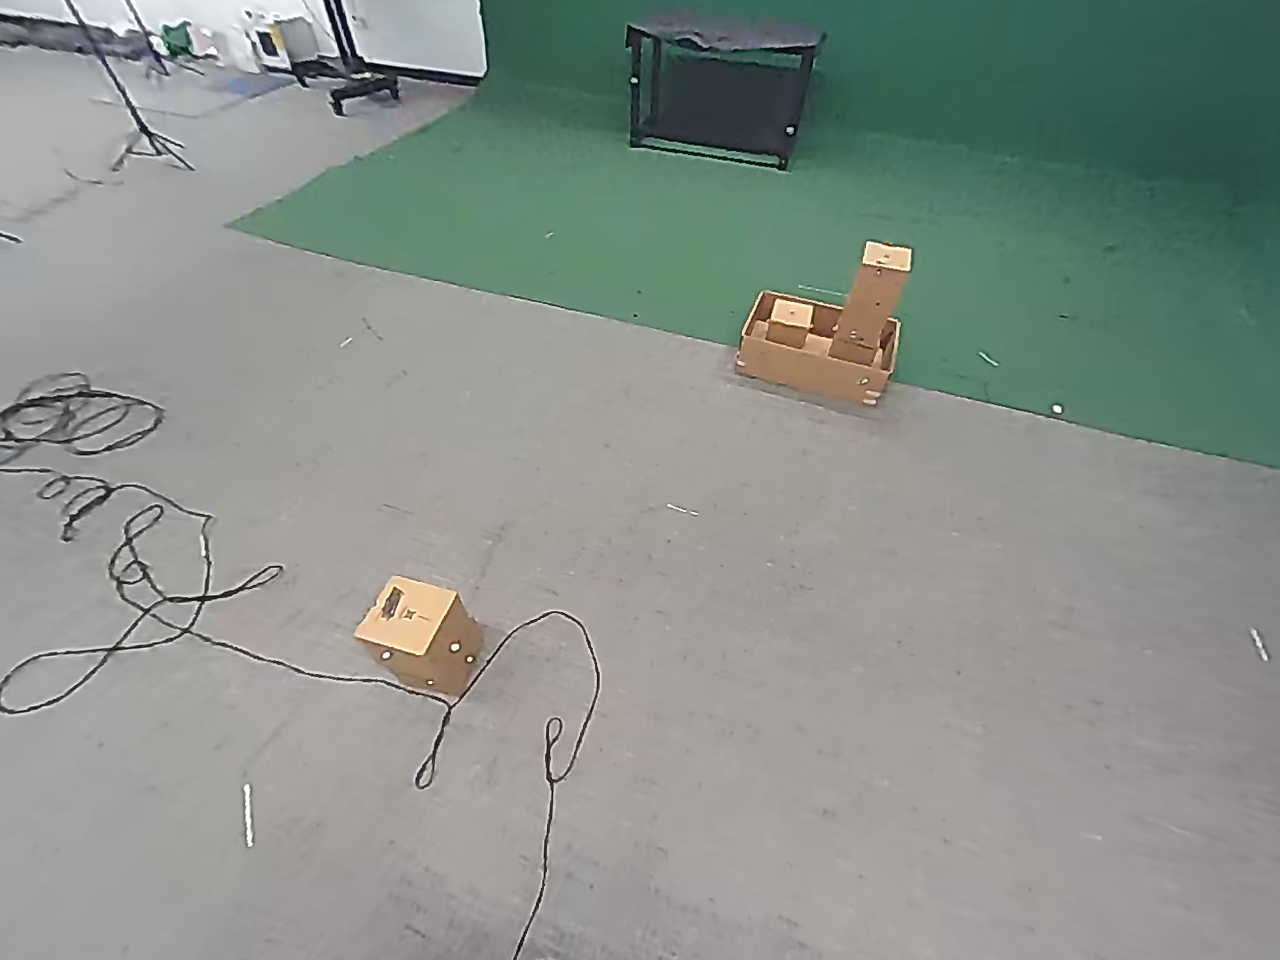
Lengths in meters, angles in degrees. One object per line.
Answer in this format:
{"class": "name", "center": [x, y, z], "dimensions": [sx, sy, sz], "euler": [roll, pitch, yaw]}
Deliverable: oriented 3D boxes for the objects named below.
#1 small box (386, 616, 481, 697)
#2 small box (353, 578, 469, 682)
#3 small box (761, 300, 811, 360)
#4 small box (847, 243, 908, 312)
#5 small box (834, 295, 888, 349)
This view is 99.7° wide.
{"class": "small box", "center": [-0.543, 0.457, 1.437], "dimensions": [0.179, 0.176, 0.168], "euler": [9, 49, 7]}
{"class": "small box", "center": [-0.540, 0.364, 1.301], "dimensions": [0.179, 0.176, 0.168], "euler": [13, 50, 8]}
{"class": "small box", "center": [0.637, -0.656, 2.369], "dimensions": [0.168, 0.176, 0.179], "euler": [15, 52, 9]}
{"class": "small box", "center": [0.893, -0.763, 2.039], "dimensions": [0.168, 0.176, 0.179], "euler": [16, 51, 13]}
{"class": "small box", "center": [0.891, -0.657, 2.165], "dimensions": [0.168, 0.176, 0.179], "euler": [18, 53, 14]}
